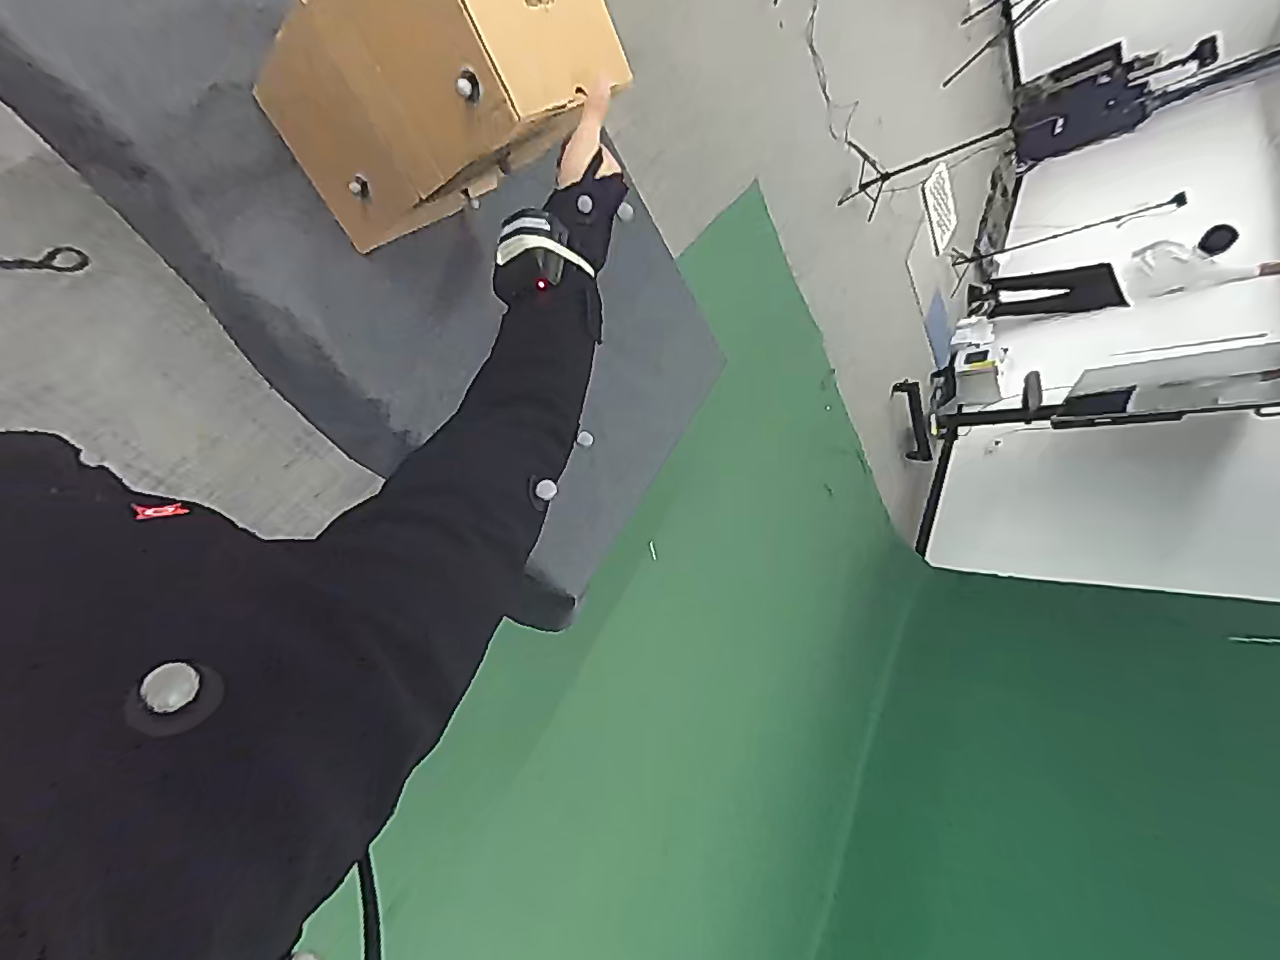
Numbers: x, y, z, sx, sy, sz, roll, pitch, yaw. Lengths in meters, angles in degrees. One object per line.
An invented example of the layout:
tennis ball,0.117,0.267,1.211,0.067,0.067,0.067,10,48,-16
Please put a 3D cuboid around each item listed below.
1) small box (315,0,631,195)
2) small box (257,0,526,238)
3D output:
small box,-0.145,-0.392,0.481,0.168,0.176,0.179,-49,124,-36
small box,-0.266,-0.387,0.590,0.168,0.176,0.179,-50,123,-36
